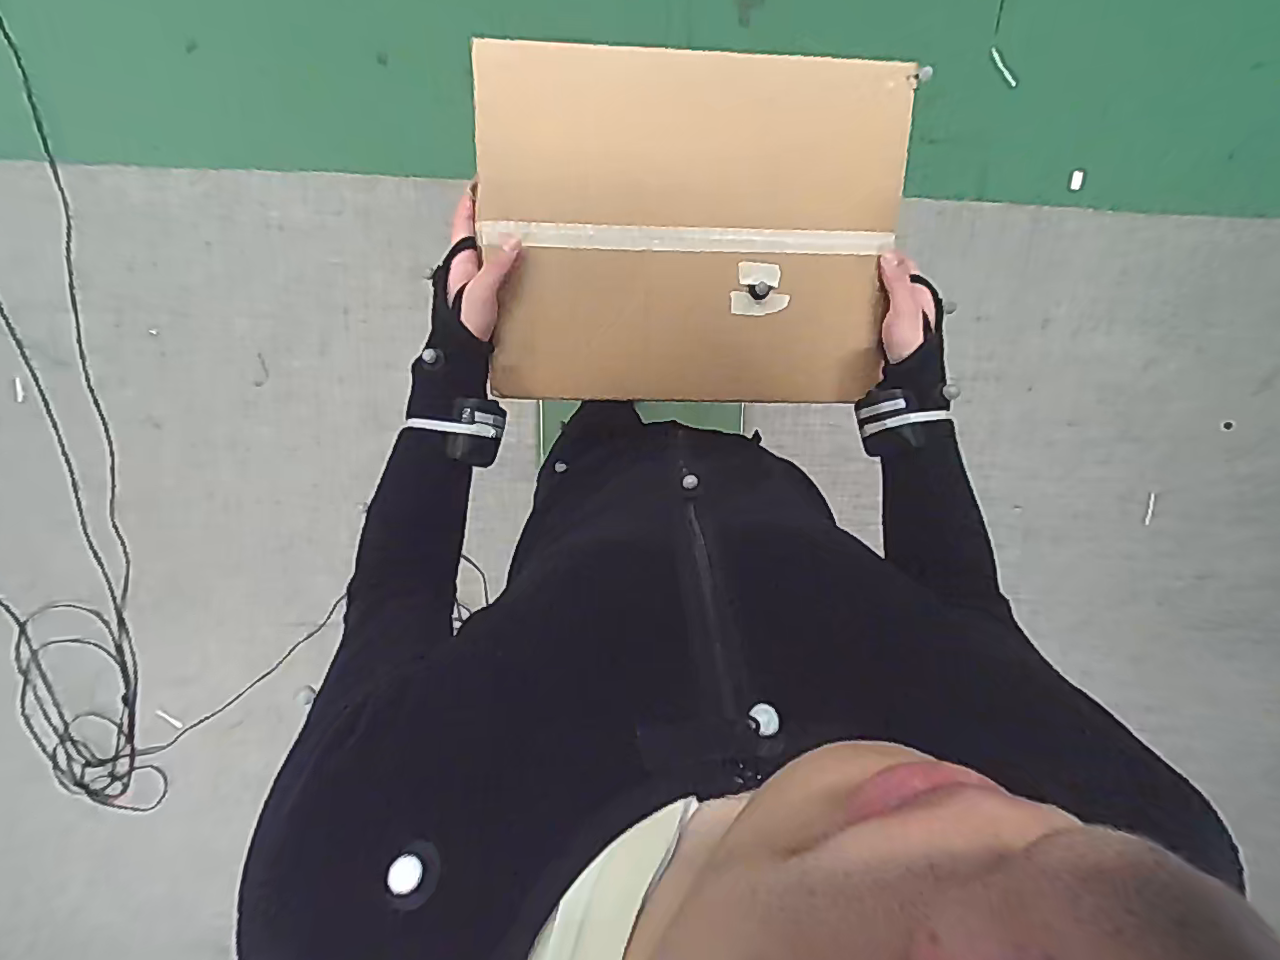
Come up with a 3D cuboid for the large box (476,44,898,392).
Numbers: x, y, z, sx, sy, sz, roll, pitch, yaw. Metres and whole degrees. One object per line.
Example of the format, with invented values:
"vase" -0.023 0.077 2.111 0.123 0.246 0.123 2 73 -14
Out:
"large box" 0.036 -0.280 0.678 0.408 0.320 0.320 0 105 -4
